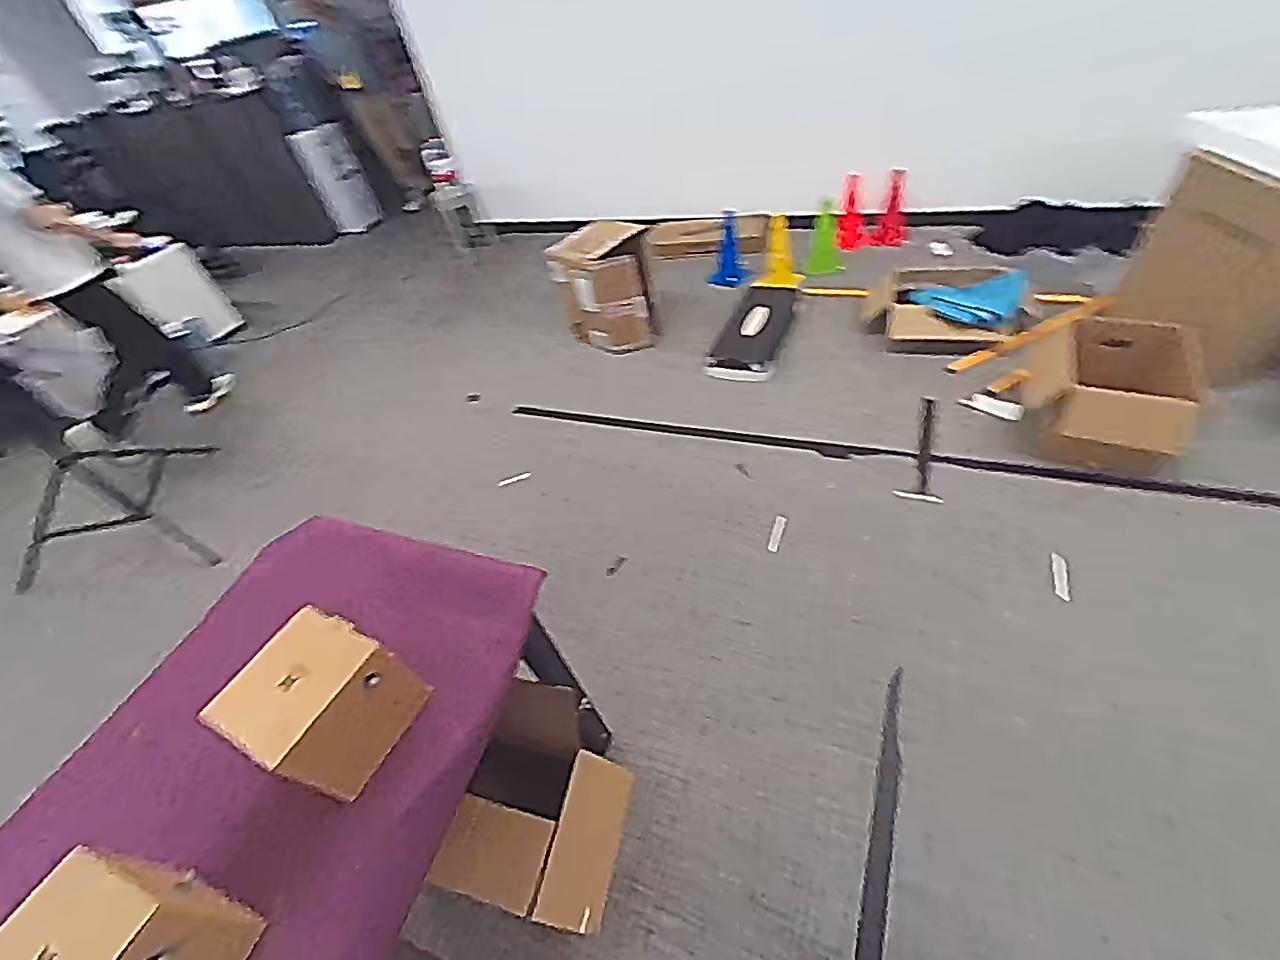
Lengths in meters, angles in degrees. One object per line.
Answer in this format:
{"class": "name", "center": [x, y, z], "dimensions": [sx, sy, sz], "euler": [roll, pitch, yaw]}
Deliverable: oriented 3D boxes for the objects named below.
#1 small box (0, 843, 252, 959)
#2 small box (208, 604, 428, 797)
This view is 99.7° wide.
{"class": "small box", "center": [-0.573, 0.539, 0.587], "dimensions": [0.168, 0.176, 0.179], "euler": [7, 49, 23]}
{"class": "small box", "center": [-0.442, 0.315, 0.772], "dimensions": [0.168, 0.176, 0.179], "euler": [14, 51, 26]}
